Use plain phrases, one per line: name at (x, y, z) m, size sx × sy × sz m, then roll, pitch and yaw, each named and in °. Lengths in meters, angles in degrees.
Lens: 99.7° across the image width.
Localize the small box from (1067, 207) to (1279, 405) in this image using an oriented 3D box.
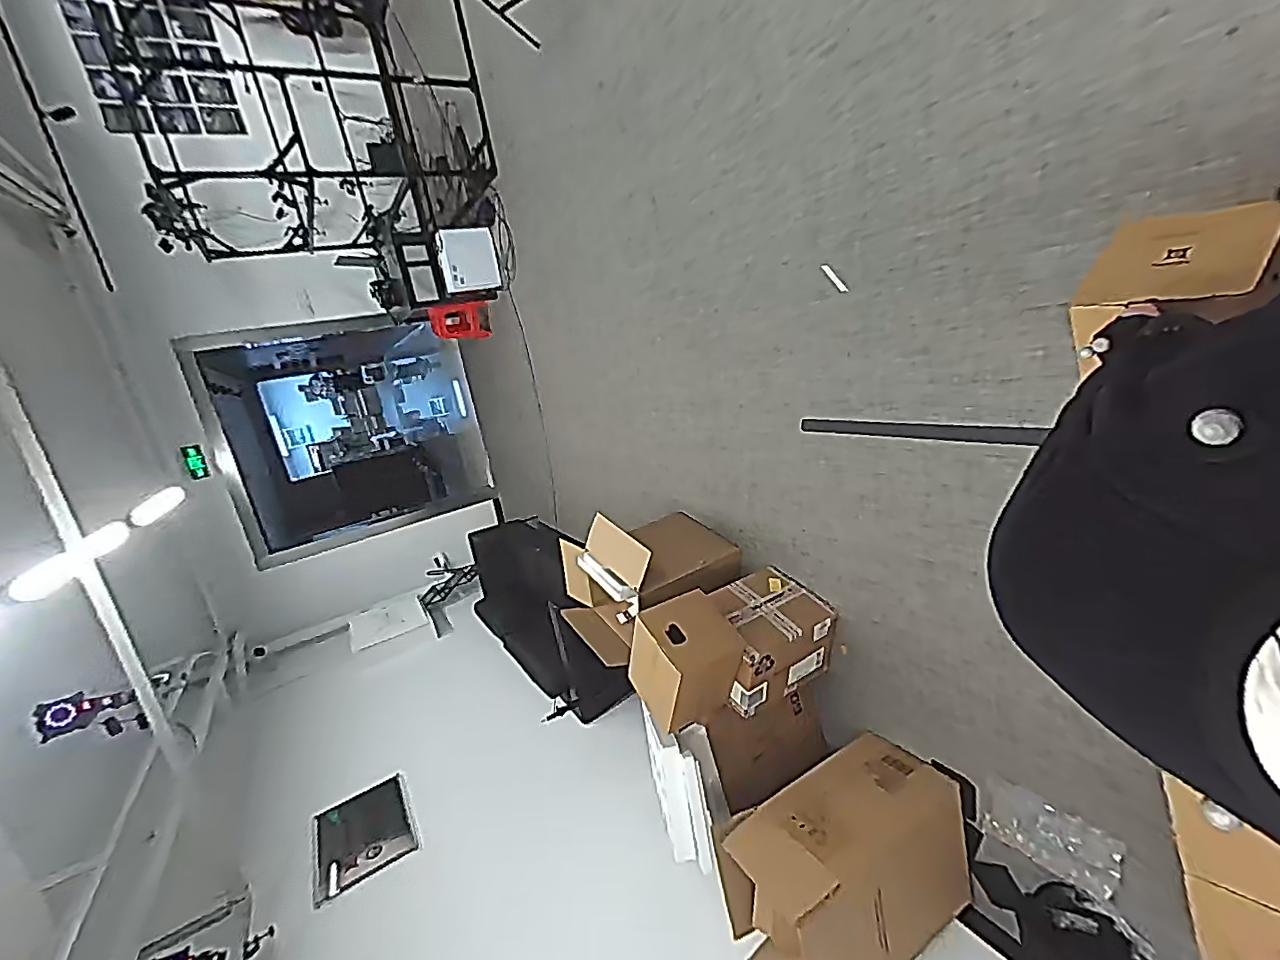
small box at (0.706, -0.218, 0.714) m, size 0.168 × 0.179 × 0.176 m, roll 19°, pitch 154°, yaw 53°
